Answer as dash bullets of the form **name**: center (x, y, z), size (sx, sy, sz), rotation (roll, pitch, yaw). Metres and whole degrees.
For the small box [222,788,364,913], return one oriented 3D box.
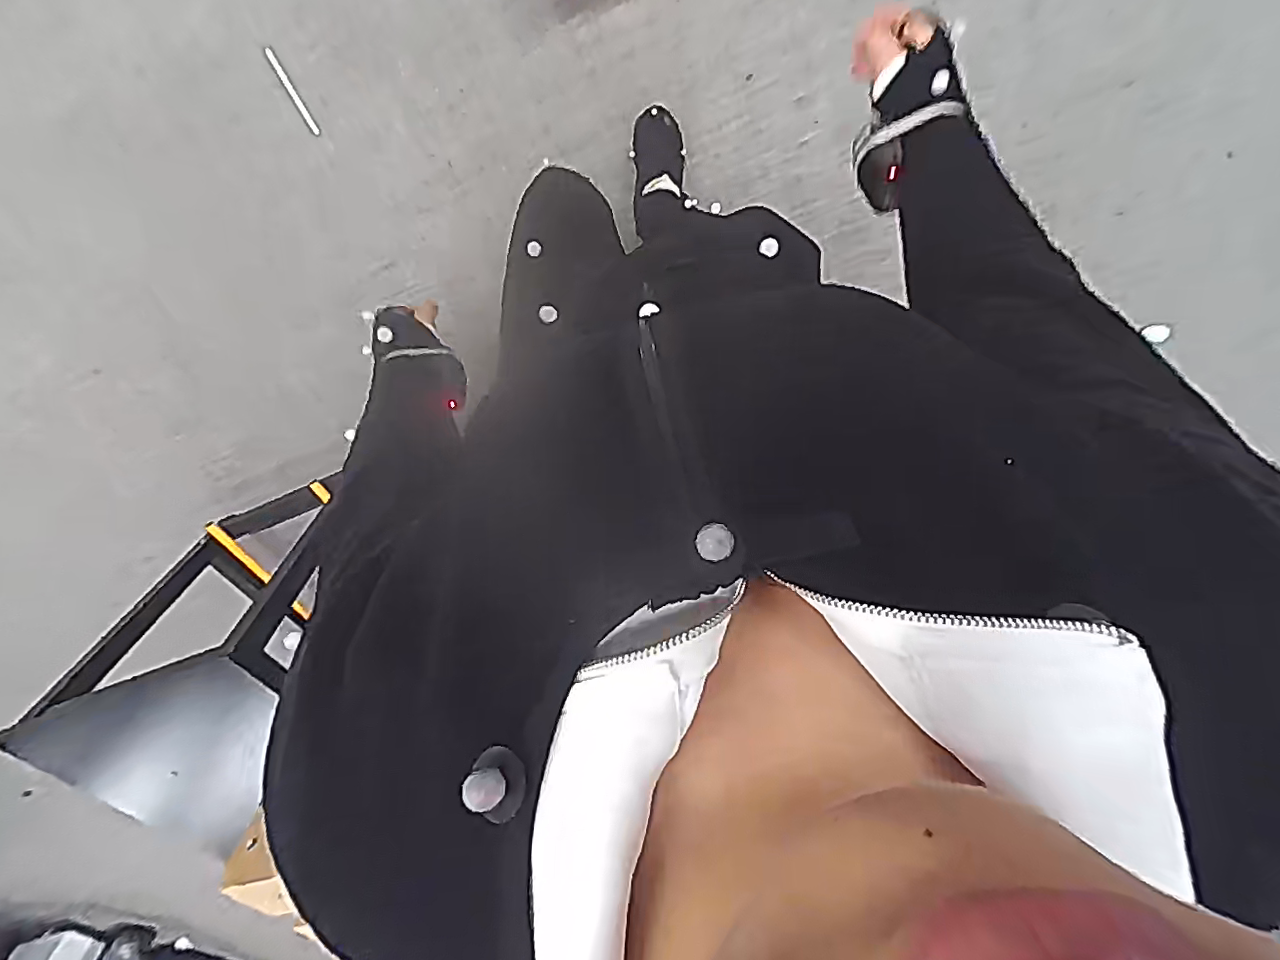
- **small box**: center (-0.760, 0.824, 1.208), size (0.179, 0.176, 0.168), rotation (-19, 124, 8)
